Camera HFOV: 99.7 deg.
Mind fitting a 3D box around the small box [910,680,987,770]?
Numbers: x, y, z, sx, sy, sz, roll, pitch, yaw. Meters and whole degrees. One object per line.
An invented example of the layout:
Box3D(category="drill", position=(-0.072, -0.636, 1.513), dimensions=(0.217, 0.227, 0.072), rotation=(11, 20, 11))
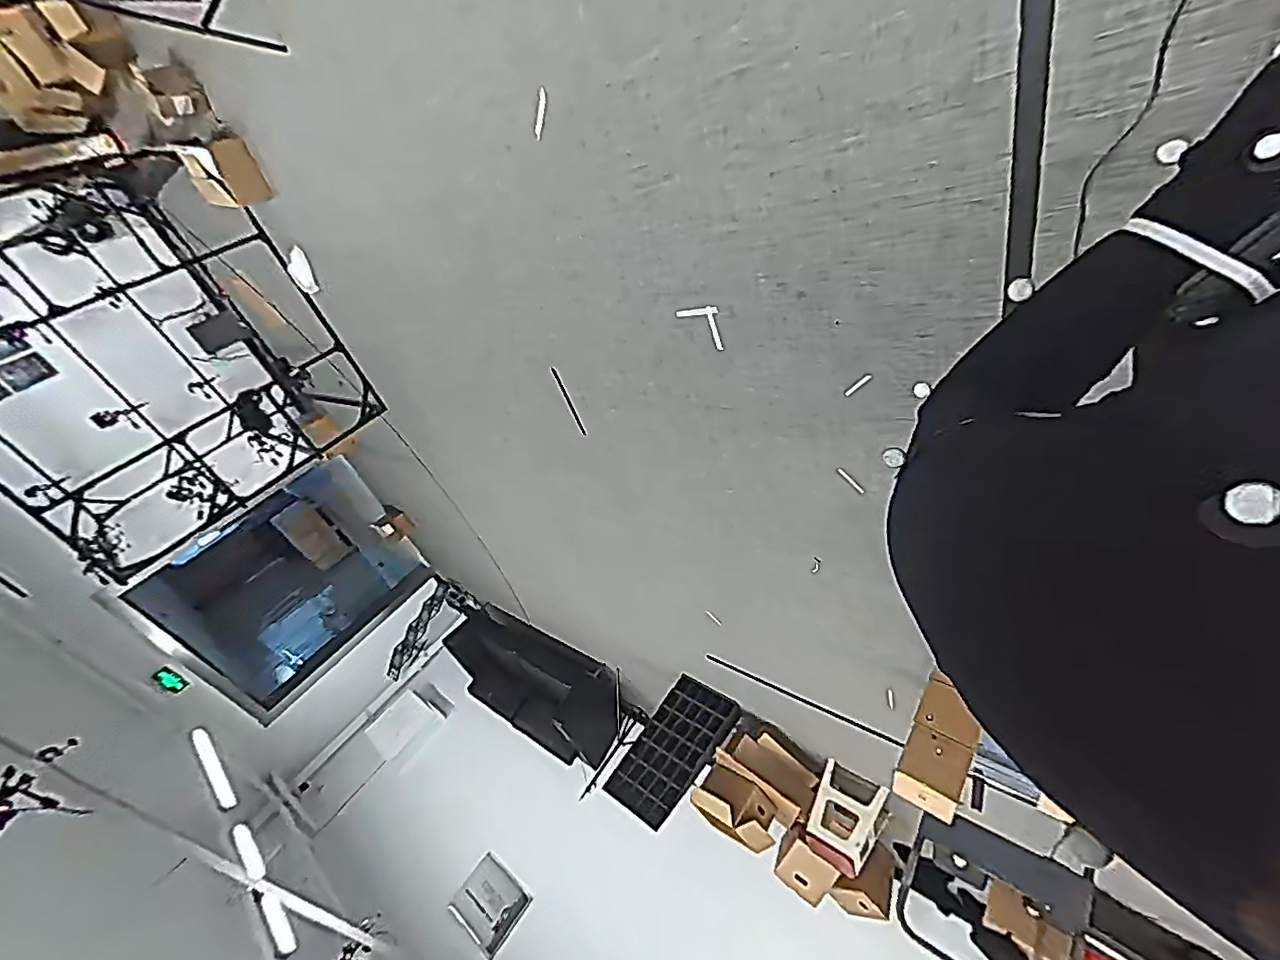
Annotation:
Box3D(category="small box", position=(0.974, 0.769, 1.712), dimensions=(0.179, 0.176, 0.168), rotation=(18, 141, 38))

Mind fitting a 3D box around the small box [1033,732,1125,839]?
Box3D(category="small box", position=(1.224, 0.847, 1.509), dimensions=(0.168, 0.176, 0.179), rotation=(14, 139, 40))

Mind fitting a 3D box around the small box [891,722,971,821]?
Box3D(category="small box", position=(0.876, 0.875, 1.631), dimensions=(0.168, 0.176, 0.179), rotation=(19, 142, 36))
